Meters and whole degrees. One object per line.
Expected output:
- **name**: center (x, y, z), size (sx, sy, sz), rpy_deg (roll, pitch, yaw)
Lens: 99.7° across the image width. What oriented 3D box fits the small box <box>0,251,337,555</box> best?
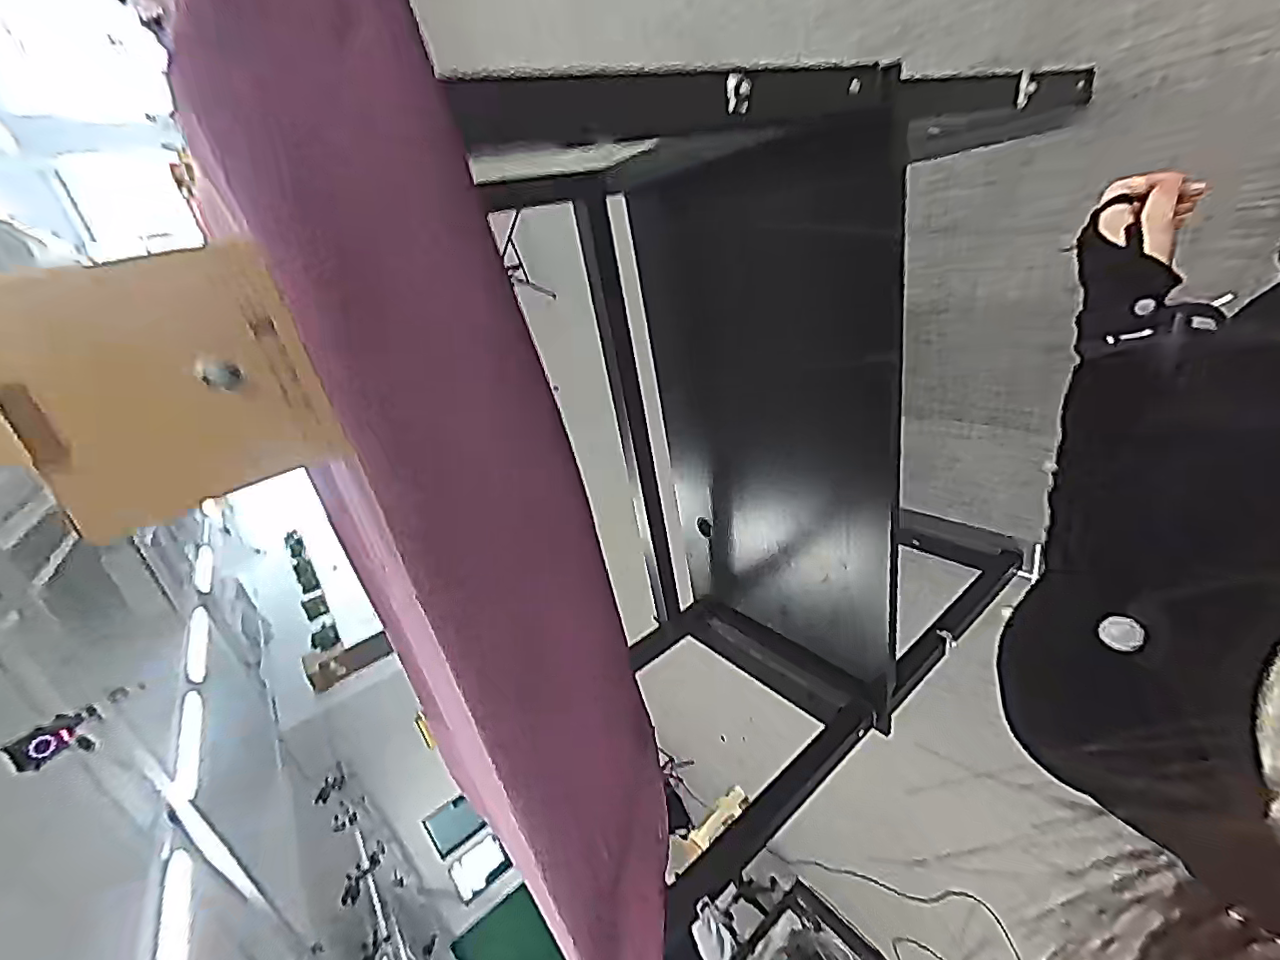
- **small box**: center (-0.364, -0.068, 0.427), size (0.179, 0.176, 0.168), rpy_deg (14, 125, 54)
